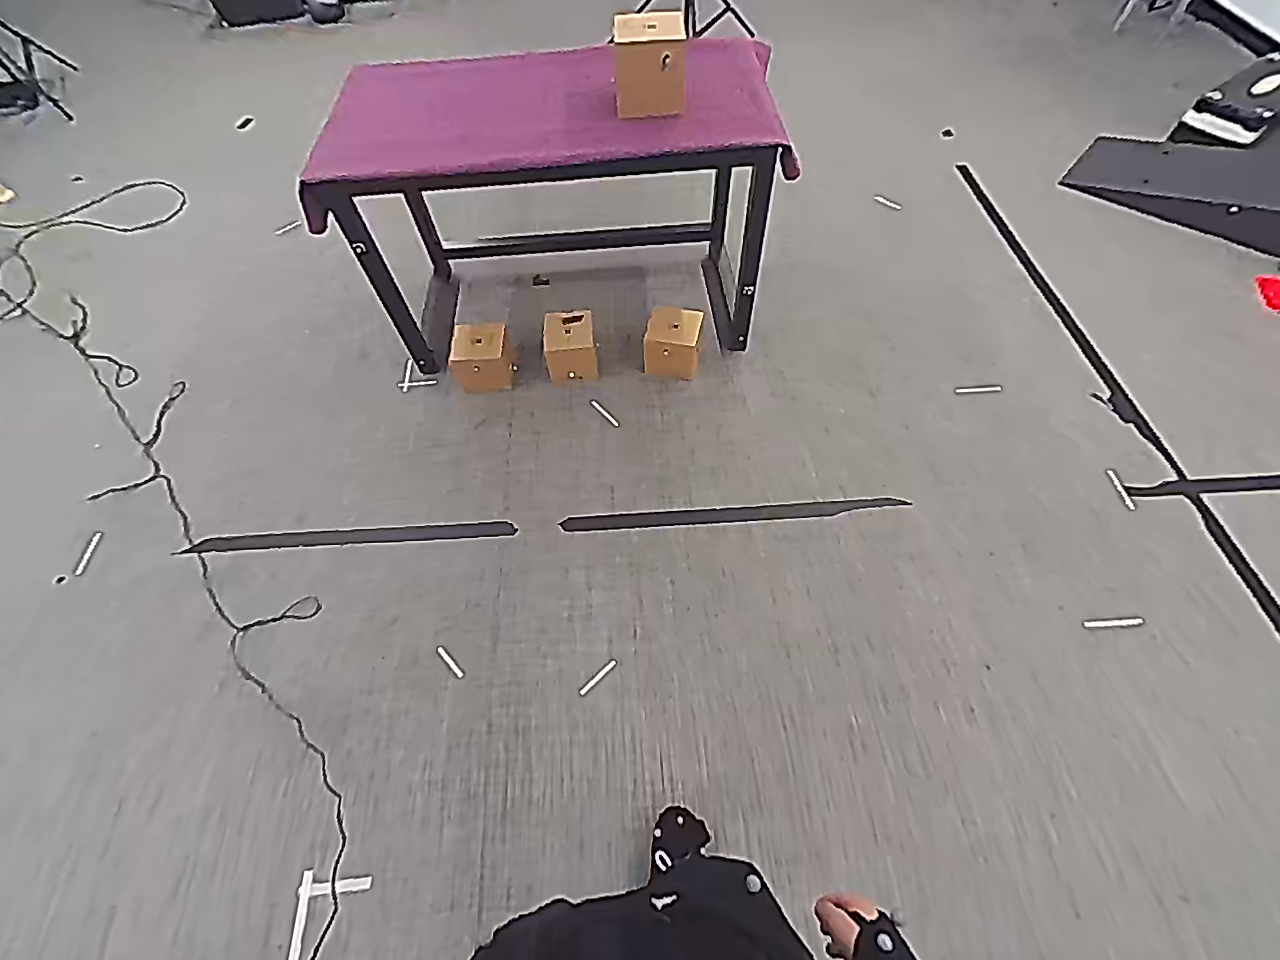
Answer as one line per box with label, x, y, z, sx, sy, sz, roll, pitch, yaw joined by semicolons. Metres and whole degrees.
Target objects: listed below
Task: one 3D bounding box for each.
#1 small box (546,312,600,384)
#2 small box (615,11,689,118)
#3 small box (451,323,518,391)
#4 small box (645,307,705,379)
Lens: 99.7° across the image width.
small box;-0.233;-0.461;1.892;0.168;0.176;0.179;-5;60;0
small box;0.030;-1.062;1.388;0.179;0.176;0.168;-3;58;2
small box;-0.536;-0.424;1.887;0.179;0.176;0.168;-3;60;0
small box;0.124;-0.474;1.882;0.179;0.176;0.168;10;61;10
